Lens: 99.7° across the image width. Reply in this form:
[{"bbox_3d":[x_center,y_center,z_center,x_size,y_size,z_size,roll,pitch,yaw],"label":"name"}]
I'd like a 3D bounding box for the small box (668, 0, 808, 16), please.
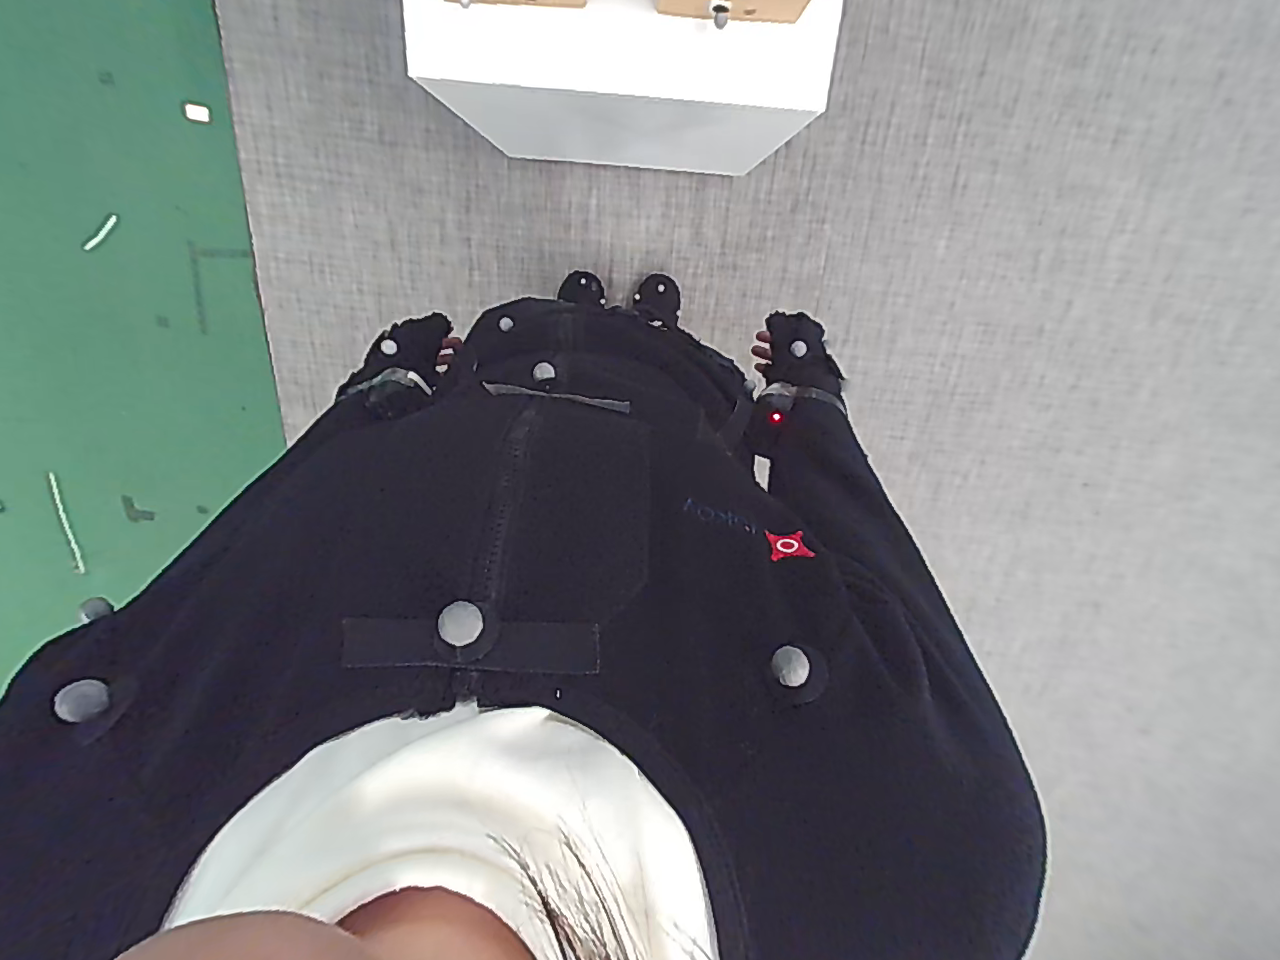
[{"bbox_3d":[0.105,-0.580,0.507,0.168,0.176,0.179,2,114,1],"label":"small box"}]
